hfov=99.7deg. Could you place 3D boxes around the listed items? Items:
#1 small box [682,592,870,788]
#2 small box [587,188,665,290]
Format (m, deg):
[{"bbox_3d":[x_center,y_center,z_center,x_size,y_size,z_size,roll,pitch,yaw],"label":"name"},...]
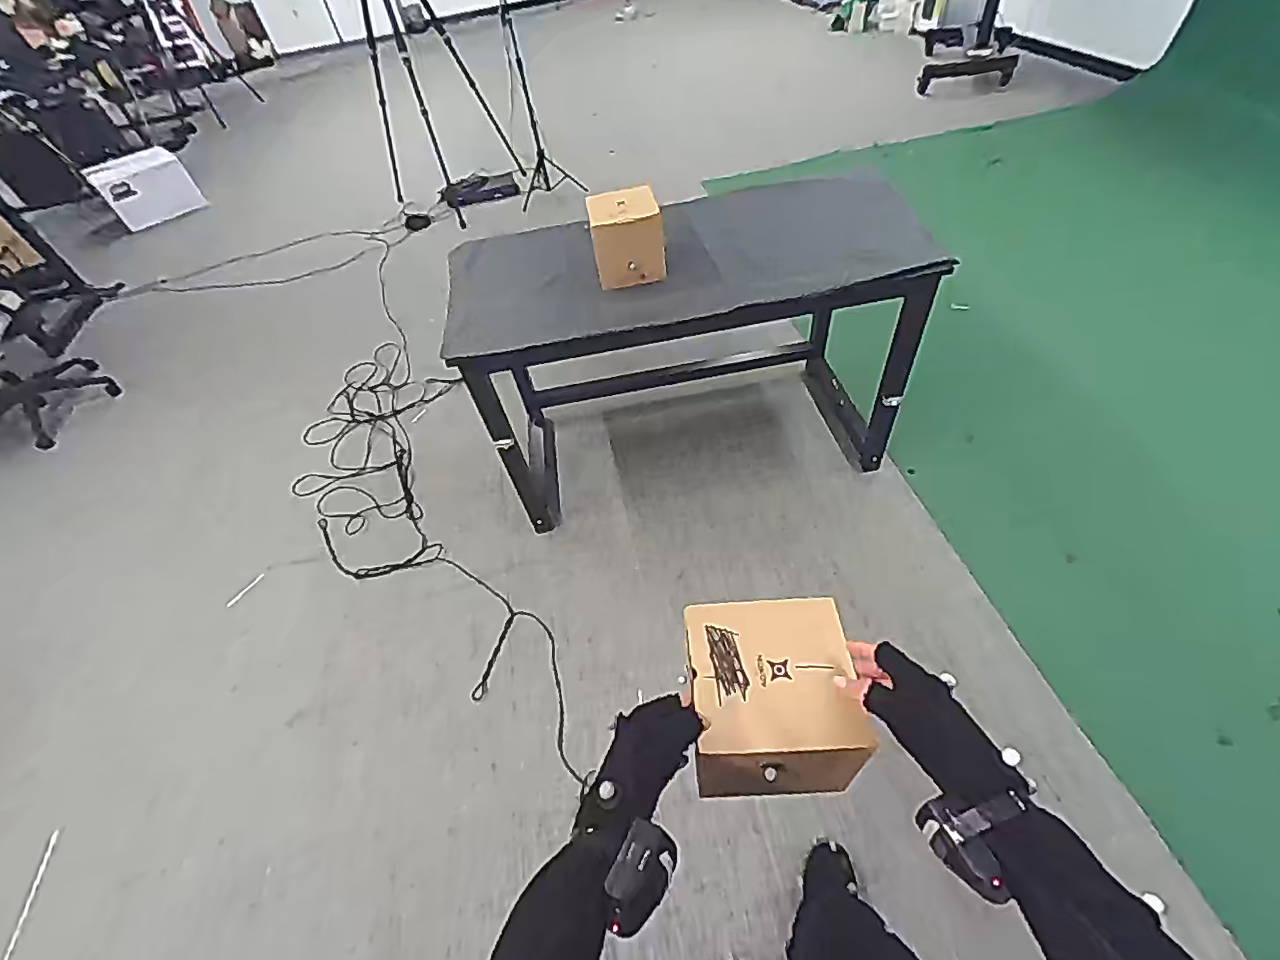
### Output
[{"bbox_3d":[0.144,0.250,0.636,0.179,0.176,0.168,-3,46,3],"label":"small box"},{"bbox_3d":[-0.035,-0.607,1.369,0.168,0.176,0.179,-11,49,0],"label":"small box"}]
